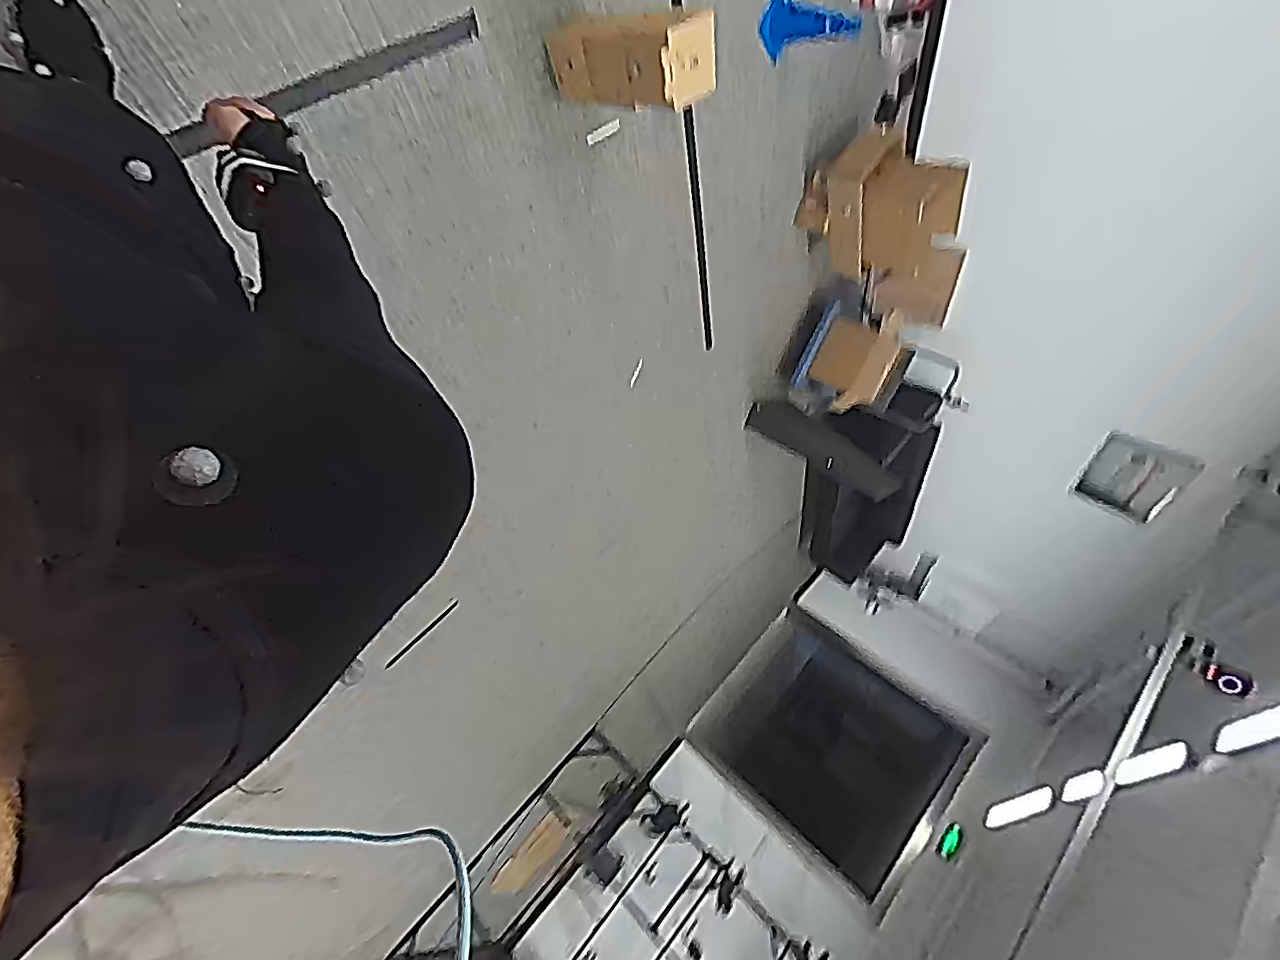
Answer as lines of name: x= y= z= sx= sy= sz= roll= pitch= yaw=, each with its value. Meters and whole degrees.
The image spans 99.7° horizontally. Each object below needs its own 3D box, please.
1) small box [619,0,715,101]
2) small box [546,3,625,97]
small box: x=0.072 y=-1.105 z=1.383 sx=0.179 sy=0.176 sz=0.168 roll=-42 pitch=146 yaw=-21
small box: x=-0.151 y=-1.254 z=1.577 sx=0.179 sy=0.176 sz=0.168 roll=-46 pitch=147 yaw=-17
